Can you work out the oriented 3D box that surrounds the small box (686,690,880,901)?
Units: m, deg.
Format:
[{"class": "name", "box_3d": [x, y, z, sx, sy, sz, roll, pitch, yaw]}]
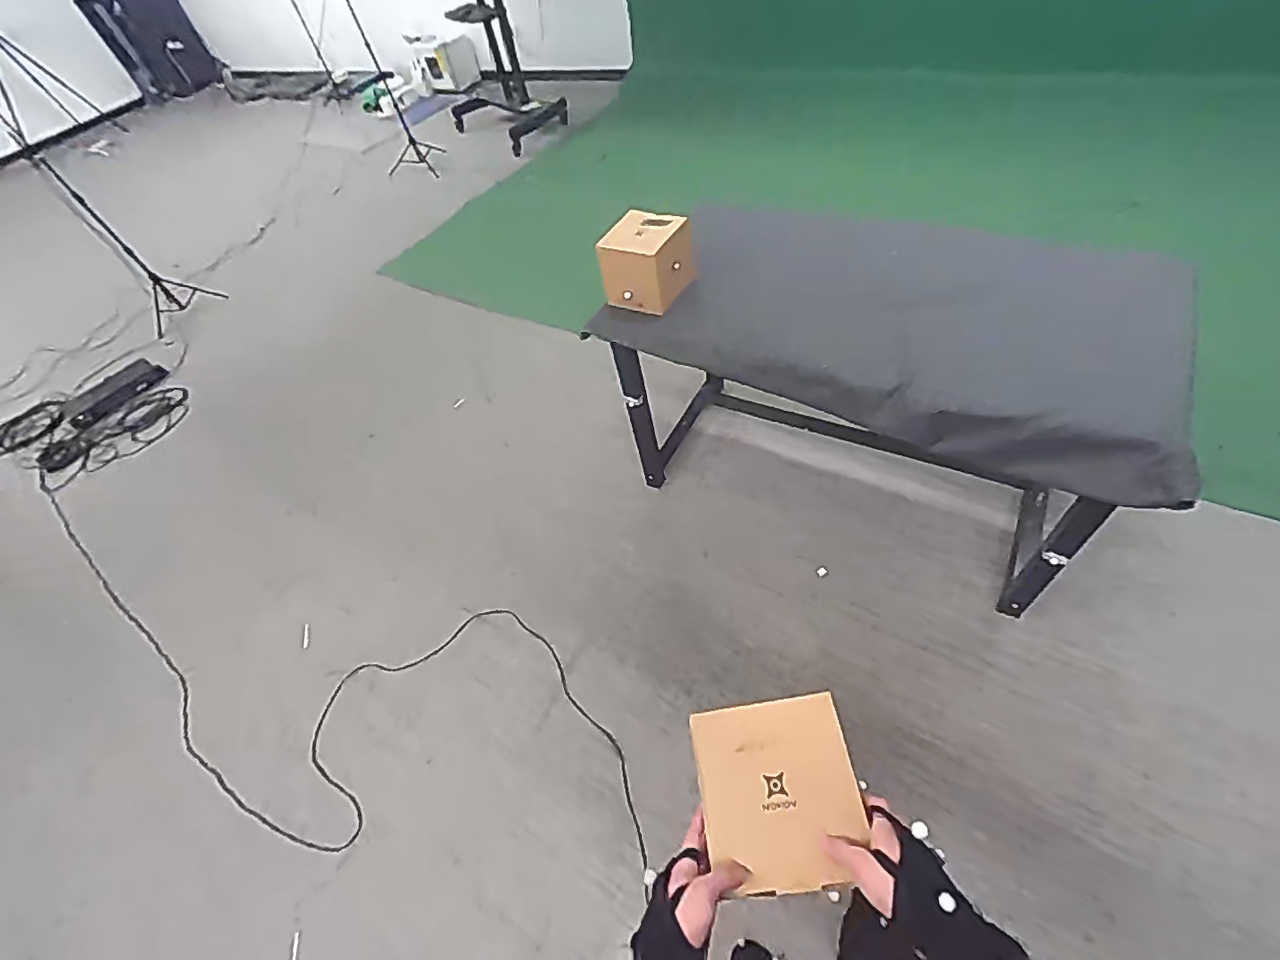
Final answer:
[{"class": "small box", "box_3d": [0.155, 0.361, 0.622, 0.168, 0.176, 0.179, -12, 53, 6]}]

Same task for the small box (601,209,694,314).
[{"class": "small box", "box_3d": [0.027, -0.547, 1.355, 0.168, 0.176, 0.179, 21, 59, 25]}]
